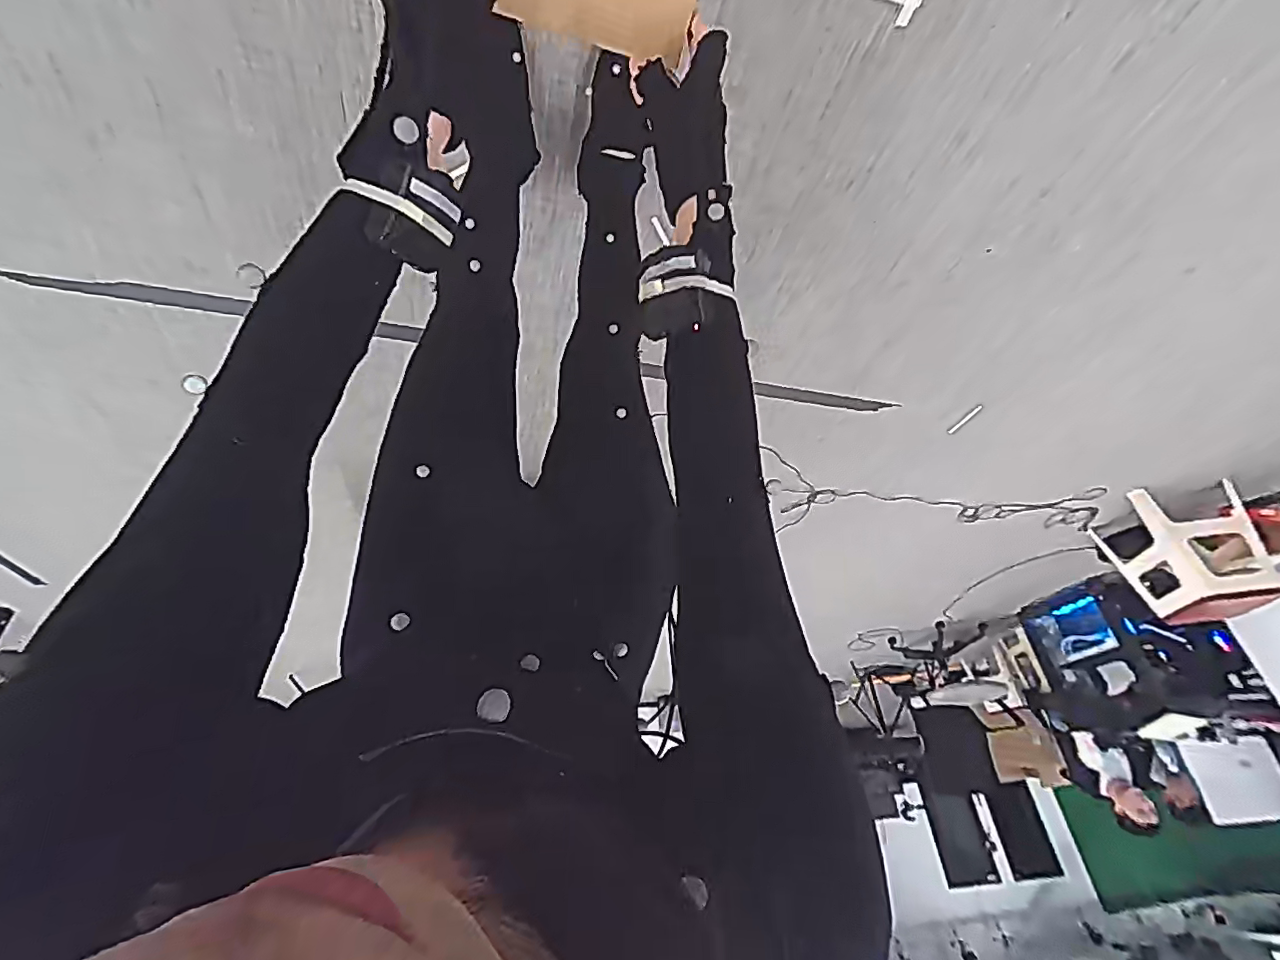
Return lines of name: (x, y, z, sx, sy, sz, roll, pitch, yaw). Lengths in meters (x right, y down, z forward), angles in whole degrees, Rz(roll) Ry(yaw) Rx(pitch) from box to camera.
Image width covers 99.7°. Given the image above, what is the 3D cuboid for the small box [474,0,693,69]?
small box: (-0.033, -0.479, 0.425, 0.179, 0.176, 0.168, 7, 150, -15)
